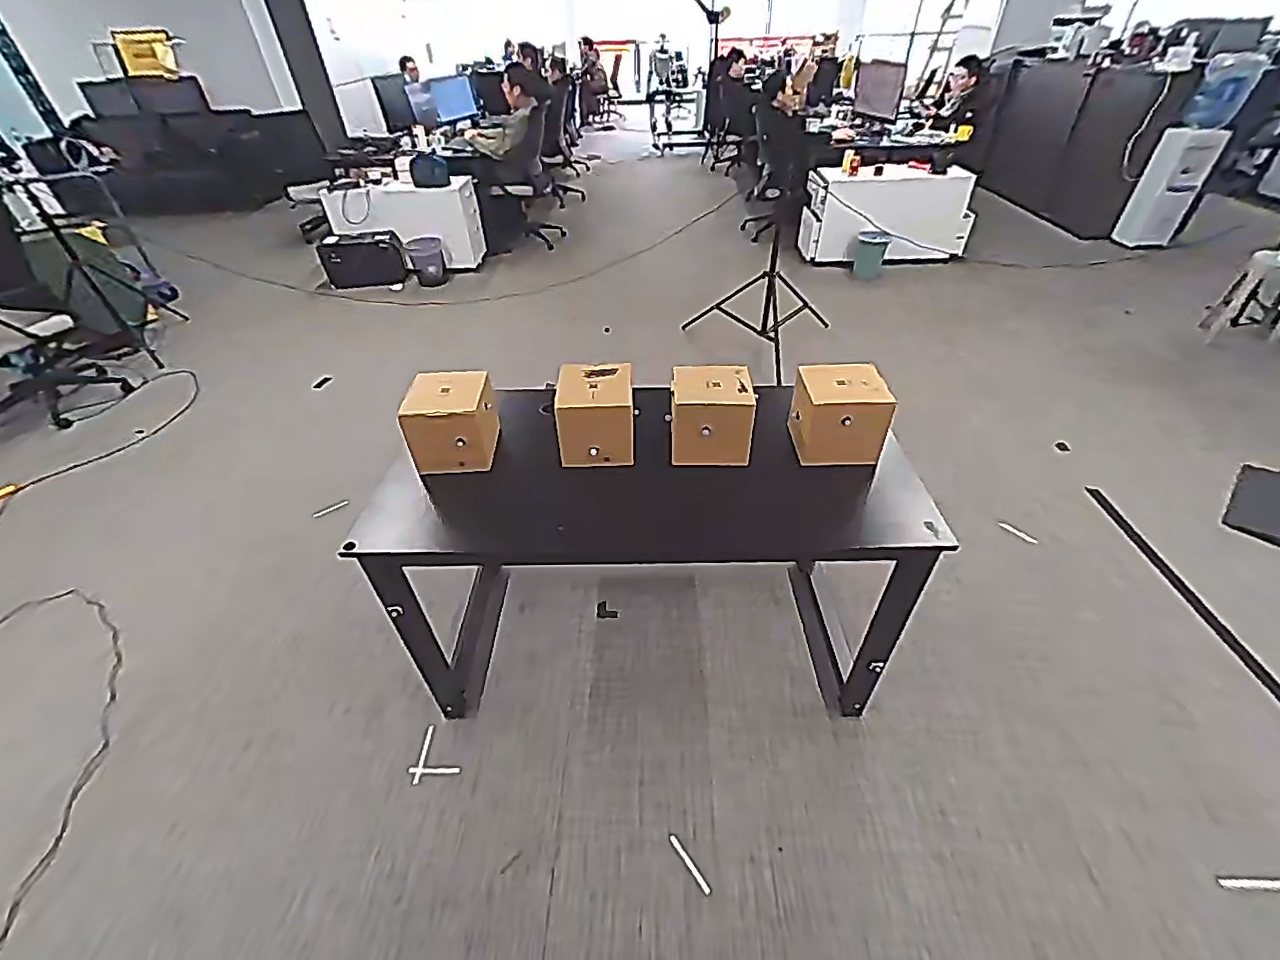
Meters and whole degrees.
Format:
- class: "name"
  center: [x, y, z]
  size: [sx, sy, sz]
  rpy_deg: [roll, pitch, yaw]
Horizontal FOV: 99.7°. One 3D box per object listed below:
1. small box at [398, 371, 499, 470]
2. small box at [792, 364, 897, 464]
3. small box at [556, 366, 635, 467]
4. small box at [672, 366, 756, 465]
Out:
- class: "small box"
  center: [-0.429, -0.133, 1.246]
  size: [0.168, 0.176, 0.179]
  rpy_deg: [-2, 40, -3]
- class: "small box"
  center: [0.450, -0.147, 1.229]
  size: [0.179, 0.176, 0.168]
  rpy_deg: [-1, 41, 2]
- class: "small box"
  center: [-0.097, -0.149, 1.252]
  size: [0.168, 0.176, 0.179]
  rpy_deg: [-2, 41, 0]
- class: "small box"
  center: [0.163, -0.146, 1.242]
  size: [0.179, 0.176, 0.168]
  rpy_deg: [0, 41, 3]
